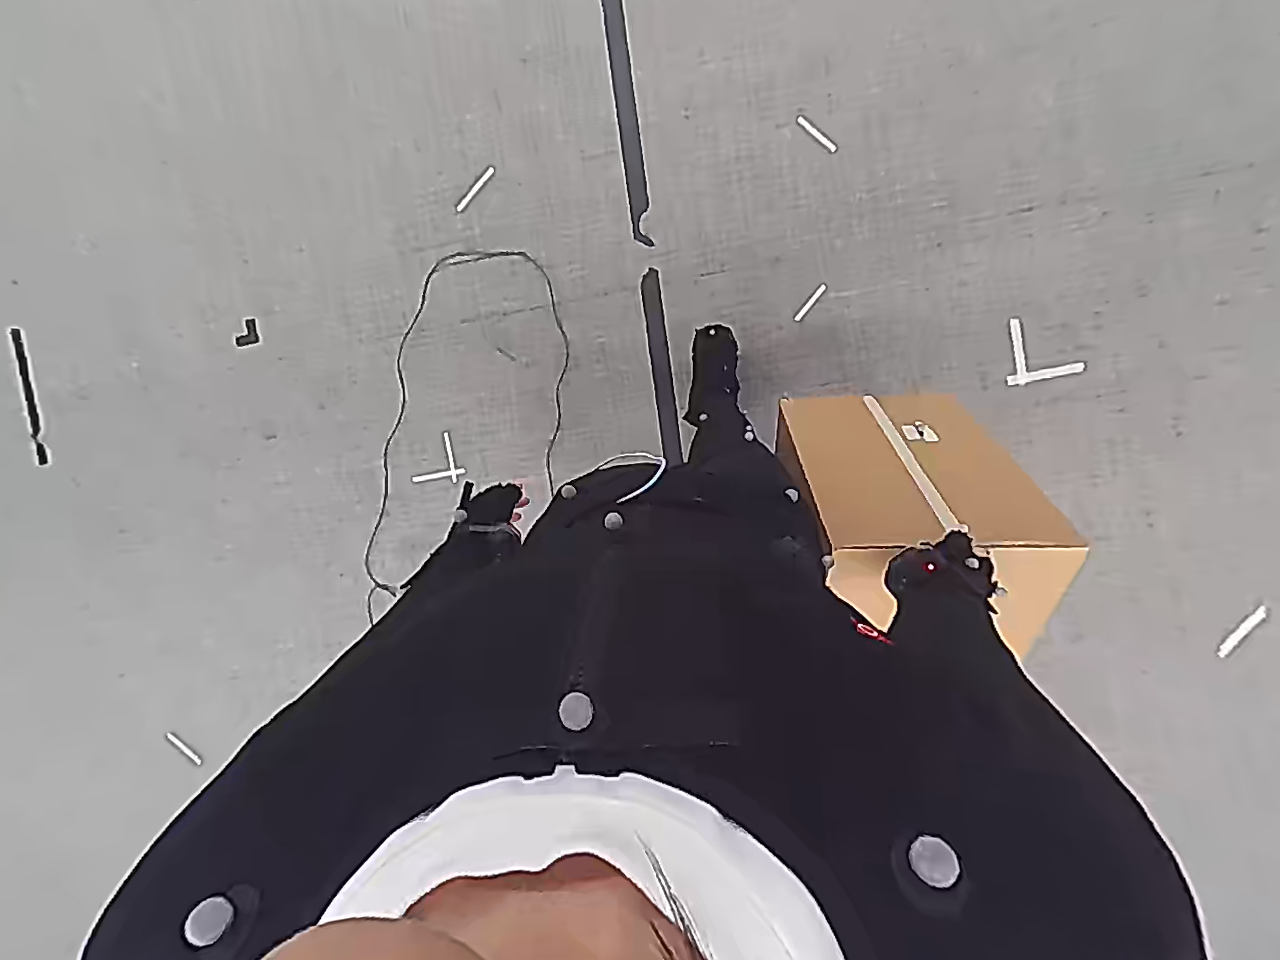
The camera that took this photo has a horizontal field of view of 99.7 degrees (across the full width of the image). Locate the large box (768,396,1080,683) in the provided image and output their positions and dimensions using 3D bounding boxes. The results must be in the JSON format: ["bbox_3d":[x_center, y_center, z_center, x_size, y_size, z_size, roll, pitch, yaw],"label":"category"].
[{"bbox_3d":[0.416,0.086,0.928,0.320,0.408,0.320,0,124,2],"label":"large box"}]
